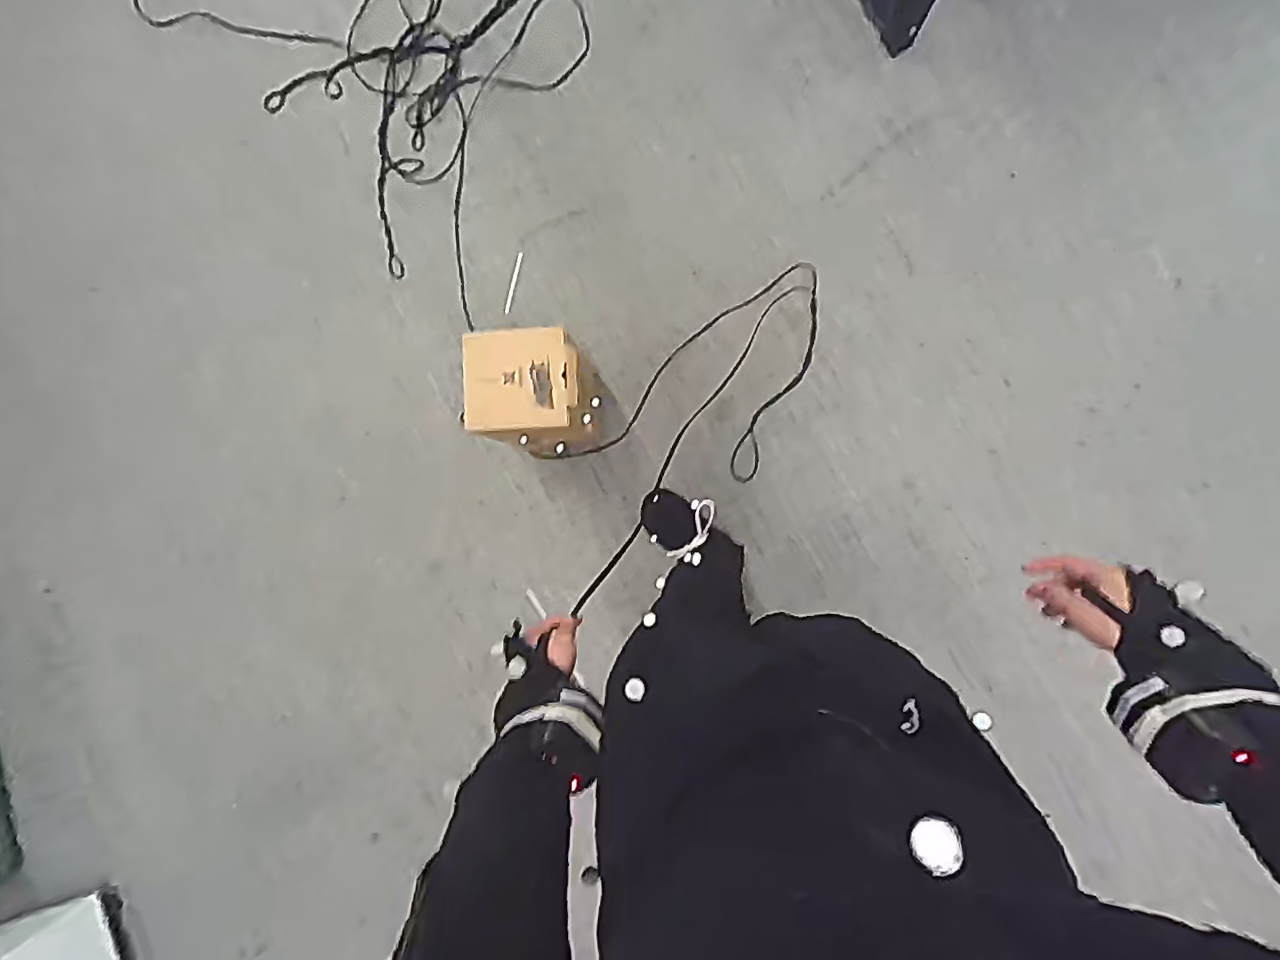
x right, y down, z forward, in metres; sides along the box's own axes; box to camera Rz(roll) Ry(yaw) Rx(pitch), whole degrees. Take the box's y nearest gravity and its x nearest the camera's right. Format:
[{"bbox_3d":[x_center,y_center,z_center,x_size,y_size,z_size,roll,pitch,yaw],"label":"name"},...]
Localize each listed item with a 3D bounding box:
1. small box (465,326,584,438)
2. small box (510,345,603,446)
[{"bbox_3d":[-0.197,-0.167,0.966,0.179,0.176,0.168,-2,88,5],"label":"small box"},{"bbox_3d":[-0.176,-0.167,1.130,0.168,0.176,0.179,-7,88,4],"label":"small box"}]
